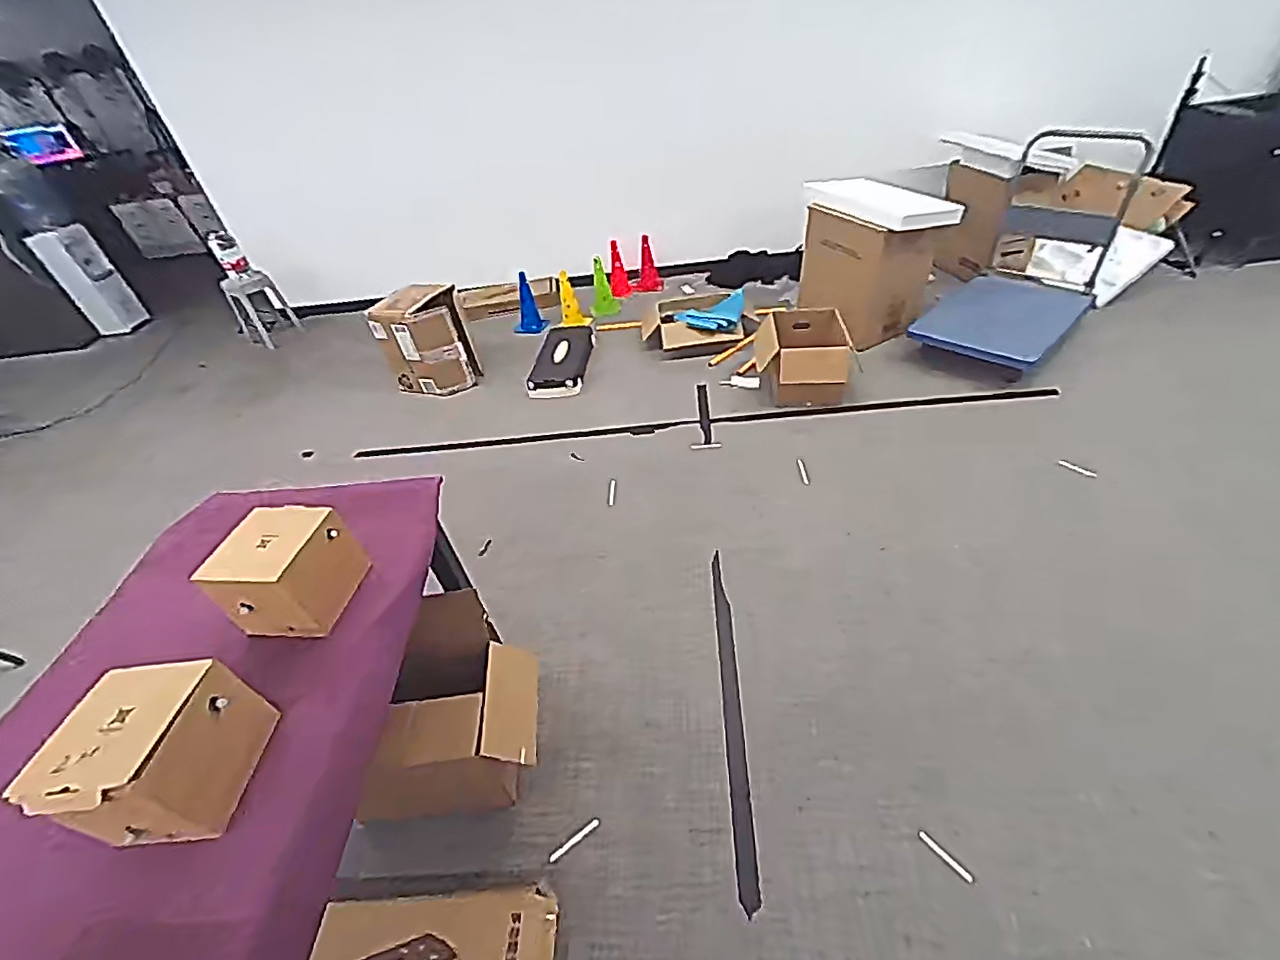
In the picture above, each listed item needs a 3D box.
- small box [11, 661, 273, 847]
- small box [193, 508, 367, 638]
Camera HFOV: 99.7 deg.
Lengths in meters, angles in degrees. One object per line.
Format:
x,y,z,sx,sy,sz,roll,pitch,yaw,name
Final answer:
-0.658,0.379,0.750,0.168,0.176,0.179,-8,40,5,small box
-0.640,0.171,0.991,0.168,0.176,0.179,-1,41,9,small box
